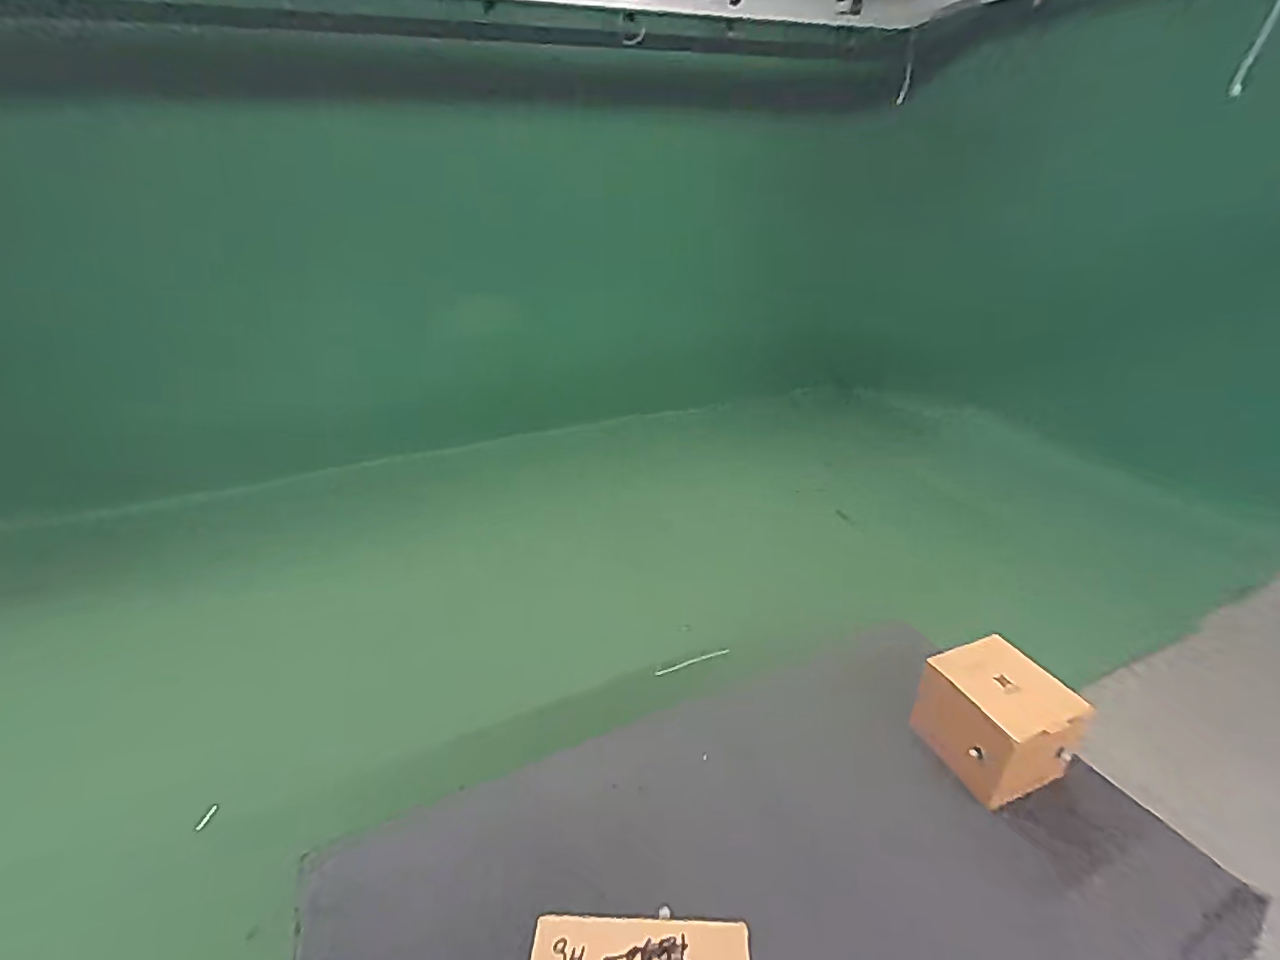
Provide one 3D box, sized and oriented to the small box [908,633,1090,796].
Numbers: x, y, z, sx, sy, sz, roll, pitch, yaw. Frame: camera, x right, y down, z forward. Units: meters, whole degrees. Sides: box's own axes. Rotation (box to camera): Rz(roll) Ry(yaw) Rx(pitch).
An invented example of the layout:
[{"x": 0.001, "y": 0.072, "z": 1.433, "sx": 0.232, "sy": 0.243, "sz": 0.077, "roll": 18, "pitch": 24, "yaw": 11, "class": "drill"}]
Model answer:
[{"x": 0.592, "y": 0.397, "z": 0.914, "sx": 0.168, "sy": 0.176, "sz": 0.179, "roll": -11, "pitch": 28, "yaw": -18, "class": "small box"}]
